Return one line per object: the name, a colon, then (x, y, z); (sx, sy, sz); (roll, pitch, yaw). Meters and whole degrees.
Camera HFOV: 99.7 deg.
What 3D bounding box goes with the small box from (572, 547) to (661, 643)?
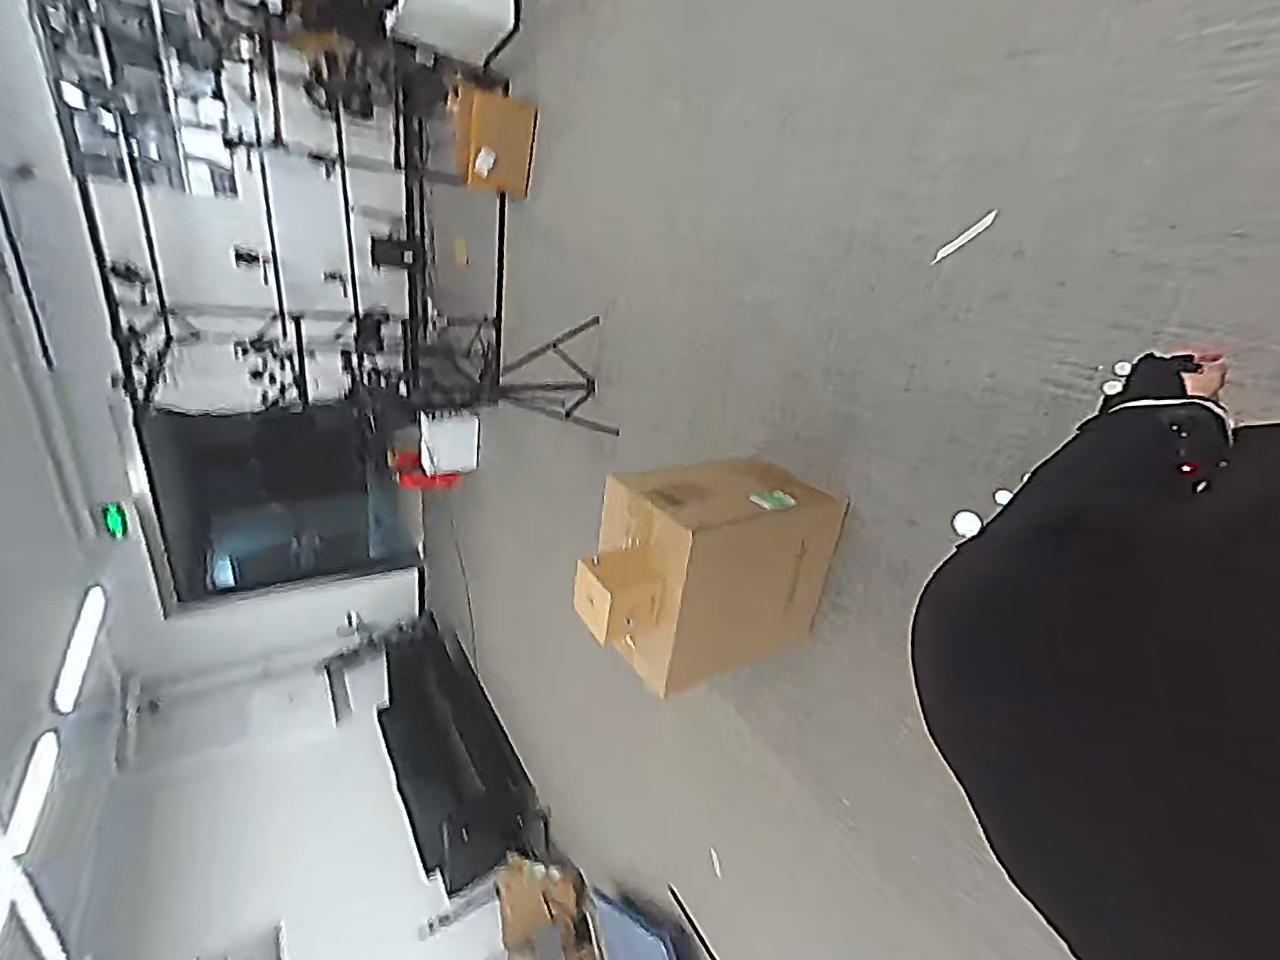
small box: (-0.062, 0.295, 1.434); (0.179, 0.176, 0.168); (38, 127, 47)
